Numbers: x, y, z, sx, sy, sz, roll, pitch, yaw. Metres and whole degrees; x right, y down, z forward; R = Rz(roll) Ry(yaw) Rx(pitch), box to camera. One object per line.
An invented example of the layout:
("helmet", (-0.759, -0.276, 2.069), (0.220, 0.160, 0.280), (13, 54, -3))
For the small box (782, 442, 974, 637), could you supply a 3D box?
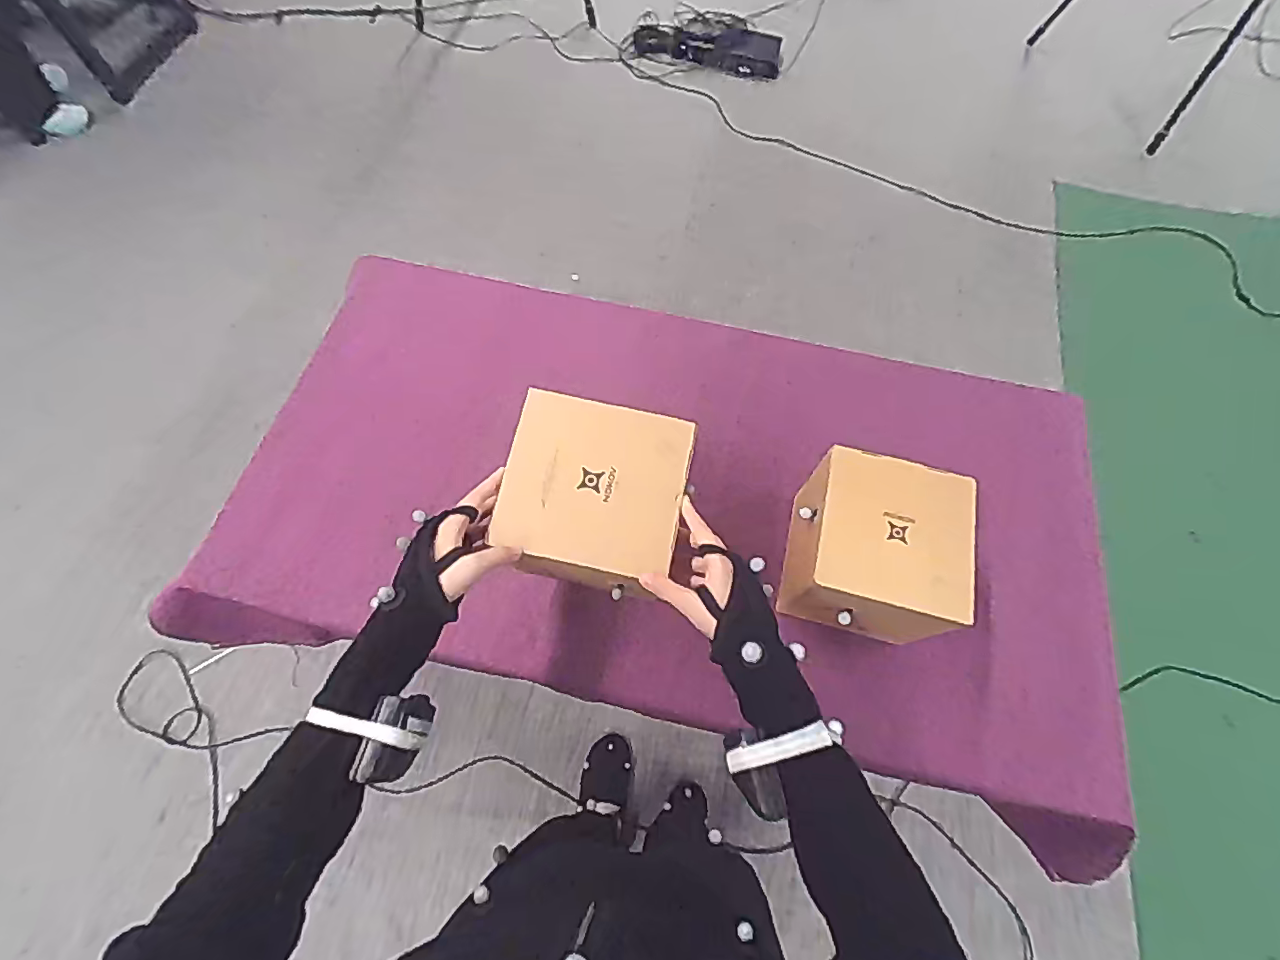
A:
("small box", (0.284, 0.082, 0.672), (0.168, 0.176, 0.179), (14, 65, 5))
